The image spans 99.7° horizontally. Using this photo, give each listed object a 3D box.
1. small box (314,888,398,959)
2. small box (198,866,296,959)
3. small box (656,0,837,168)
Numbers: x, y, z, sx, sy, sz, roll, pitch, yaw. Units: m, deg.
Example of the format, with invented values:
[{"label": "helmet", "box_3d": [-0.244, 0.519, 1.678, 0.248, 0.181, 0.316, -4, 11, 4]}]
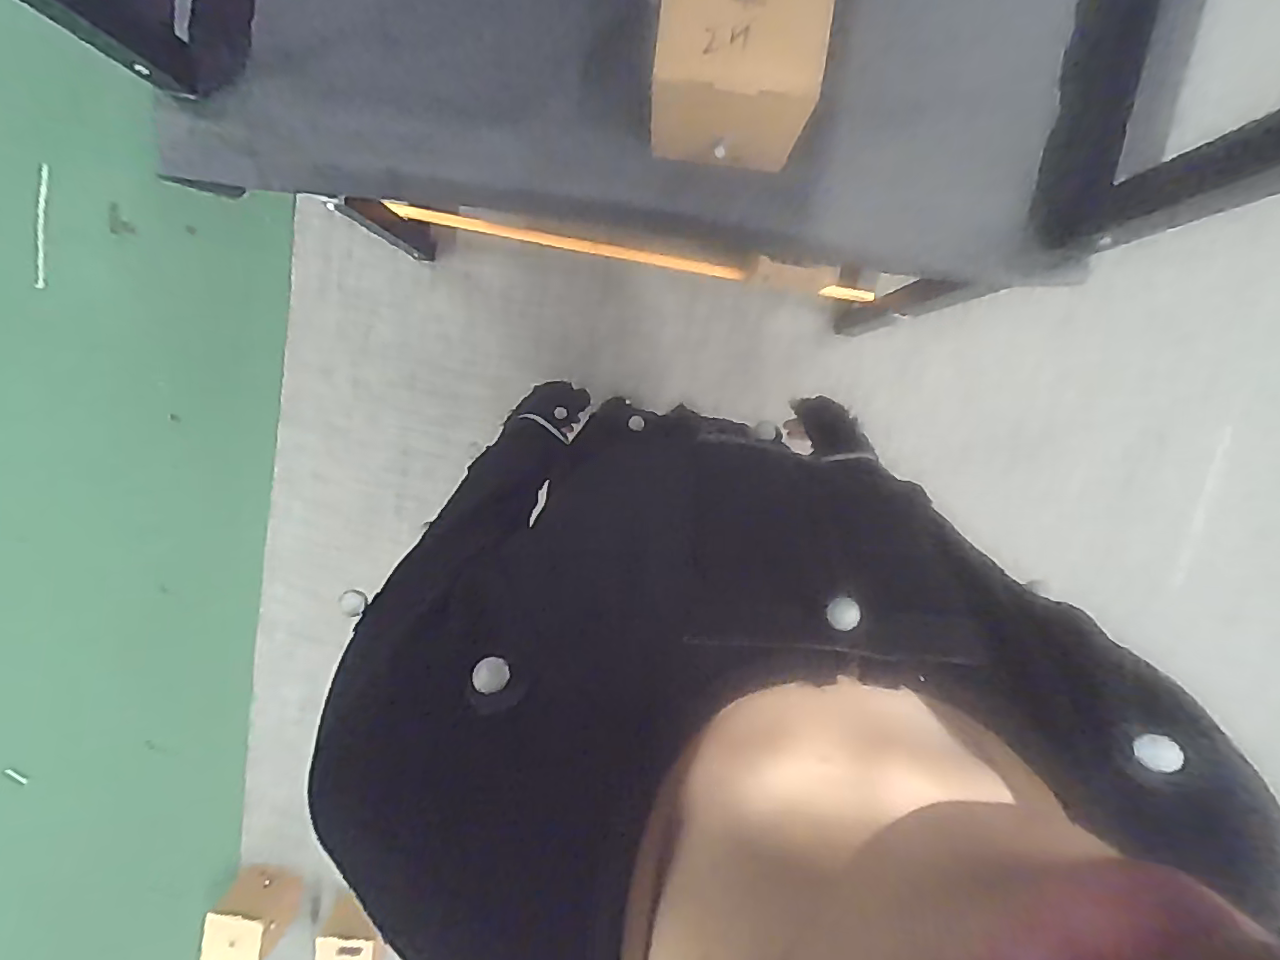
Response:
[{"label": "small box", "box_3d": [-0.834, 1.355, 1.598, 0.168, 0.176, 0.179, 6, 98, 0]}, {"label": "small box", "box_3d": [-1.152, 1.295, 1.595, 0.168, 0.176, 0.179, 12, 97, -1]}, {"label": "small box", "box_3d": [0.110, -0.483, 0.597, 0.168, 0.176, 0.179, 8, 97, 0]}]
